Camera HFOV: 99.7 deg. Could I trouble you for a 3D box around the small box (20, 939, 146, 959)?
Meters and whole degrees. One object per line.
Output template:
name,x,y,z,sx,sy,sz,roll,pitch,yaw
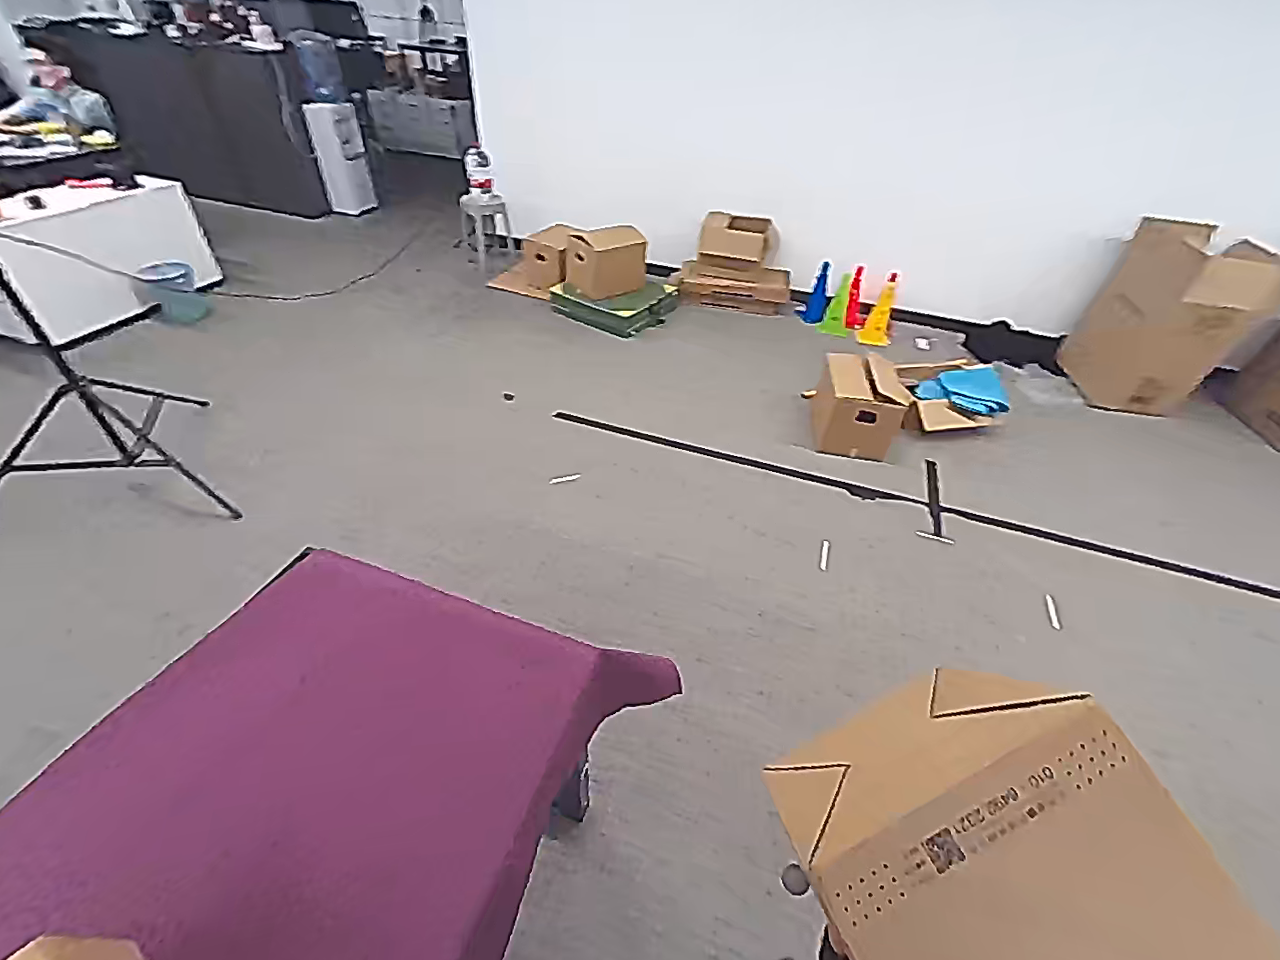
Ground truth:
small box,-0.519,0.538,0.450,0.168,0.176,0.179,35,51,21
